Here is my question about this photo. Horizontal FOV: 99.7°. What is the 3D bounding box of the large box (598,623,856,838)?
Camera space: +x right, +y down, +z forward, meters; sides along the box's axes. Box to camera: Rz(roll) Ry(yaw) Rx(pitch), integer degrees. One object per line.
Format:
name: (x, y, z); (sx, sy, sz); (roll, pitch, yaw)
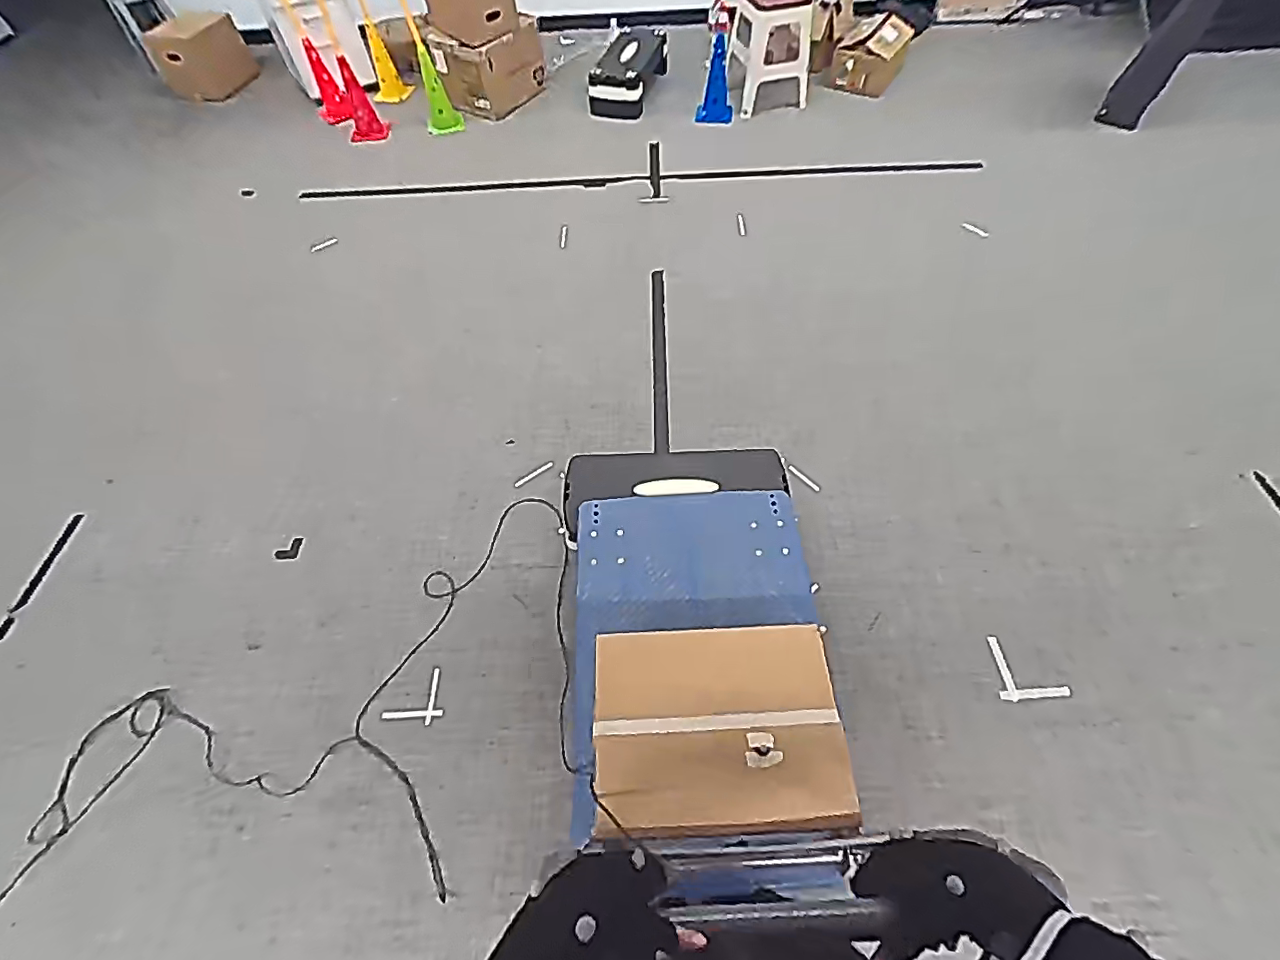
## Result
large box: (0.131, 0.488, 1.039); (0.408, 0.320, 0.320); (-3, 57, -1)
